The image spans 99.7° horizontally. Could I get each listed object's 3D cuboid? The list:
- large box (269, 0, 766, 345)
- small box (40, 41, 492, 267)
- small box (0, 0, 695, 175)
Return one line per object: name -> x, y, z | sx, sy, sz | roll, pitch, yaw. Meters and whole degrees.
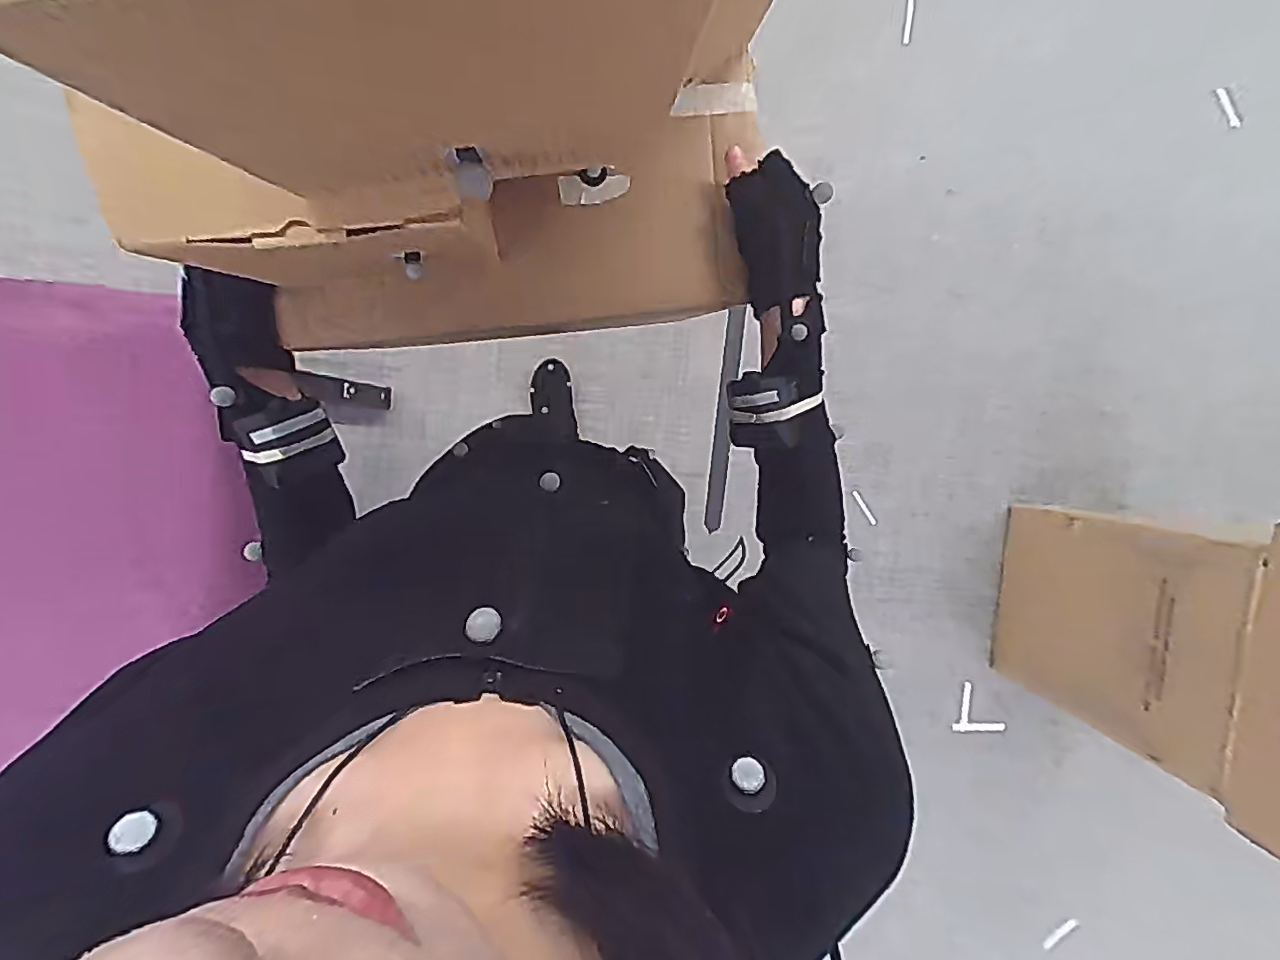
large box -> -0.124, -0.321, 0.553 | 0.408, 0.320, 0.320 | -8, 106, -6
small box -> -0.190, -0.228, 0.316 | 0.168, 0.176, 0.179 | -9, 104, -7
small box -> -0.080, -0.211, 0.163 | 0.179, 0.176, 0.168 | -9, 106, -4
